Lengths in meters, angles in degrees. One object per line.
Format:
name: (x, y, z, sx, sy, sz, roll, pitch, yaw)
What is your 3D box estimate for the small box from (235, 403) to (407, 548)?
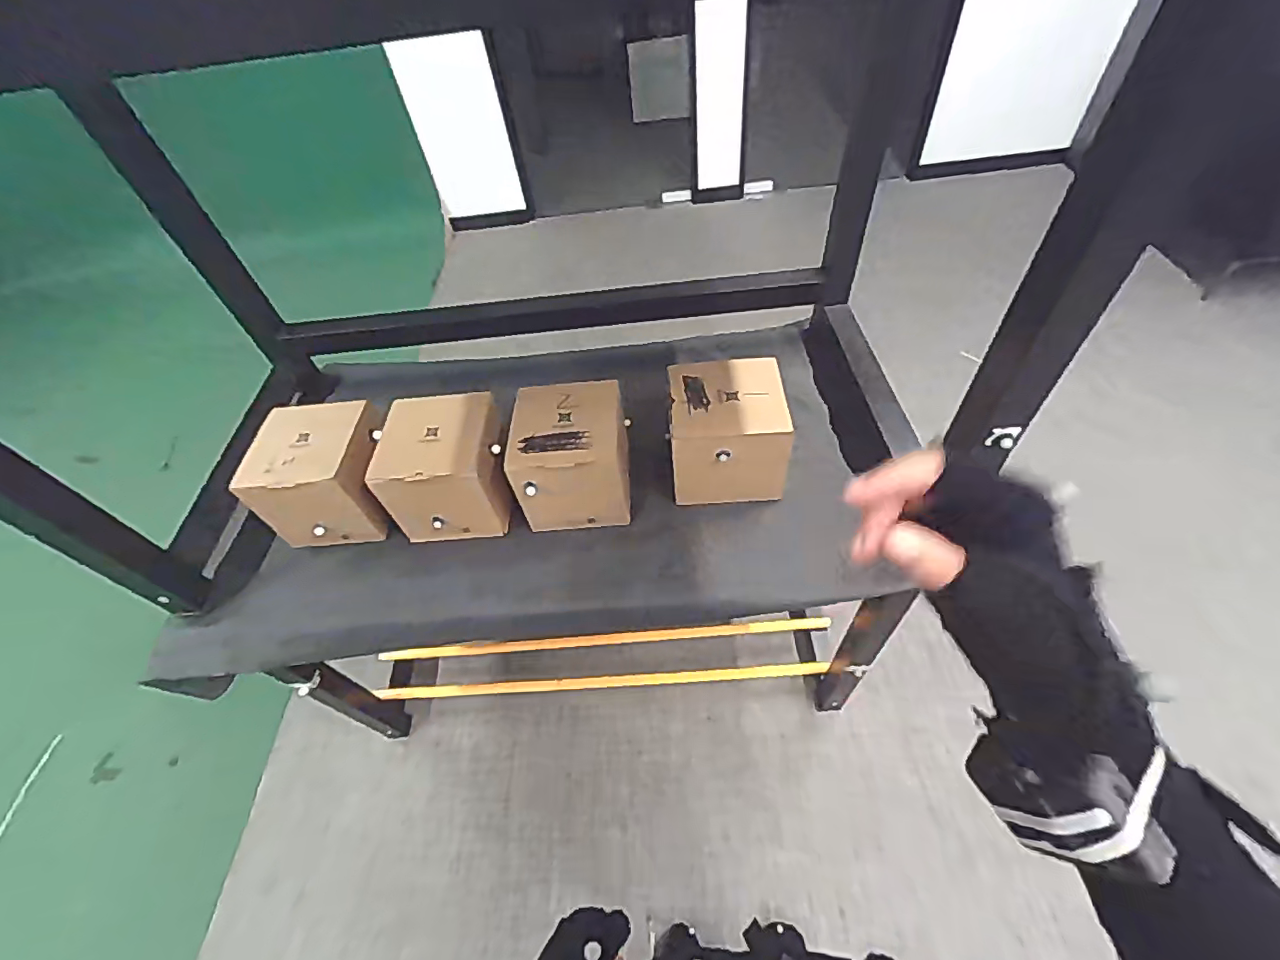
small box: (-0.520, -0.006, 0.915, 0.168, 0.176, 0.179, -5, 51, 3)

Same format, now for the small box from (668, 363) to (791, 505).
small box: (0.138, -0.071, 0.889, 0.179, 0.176, 0.168, -2, 52, 4)
